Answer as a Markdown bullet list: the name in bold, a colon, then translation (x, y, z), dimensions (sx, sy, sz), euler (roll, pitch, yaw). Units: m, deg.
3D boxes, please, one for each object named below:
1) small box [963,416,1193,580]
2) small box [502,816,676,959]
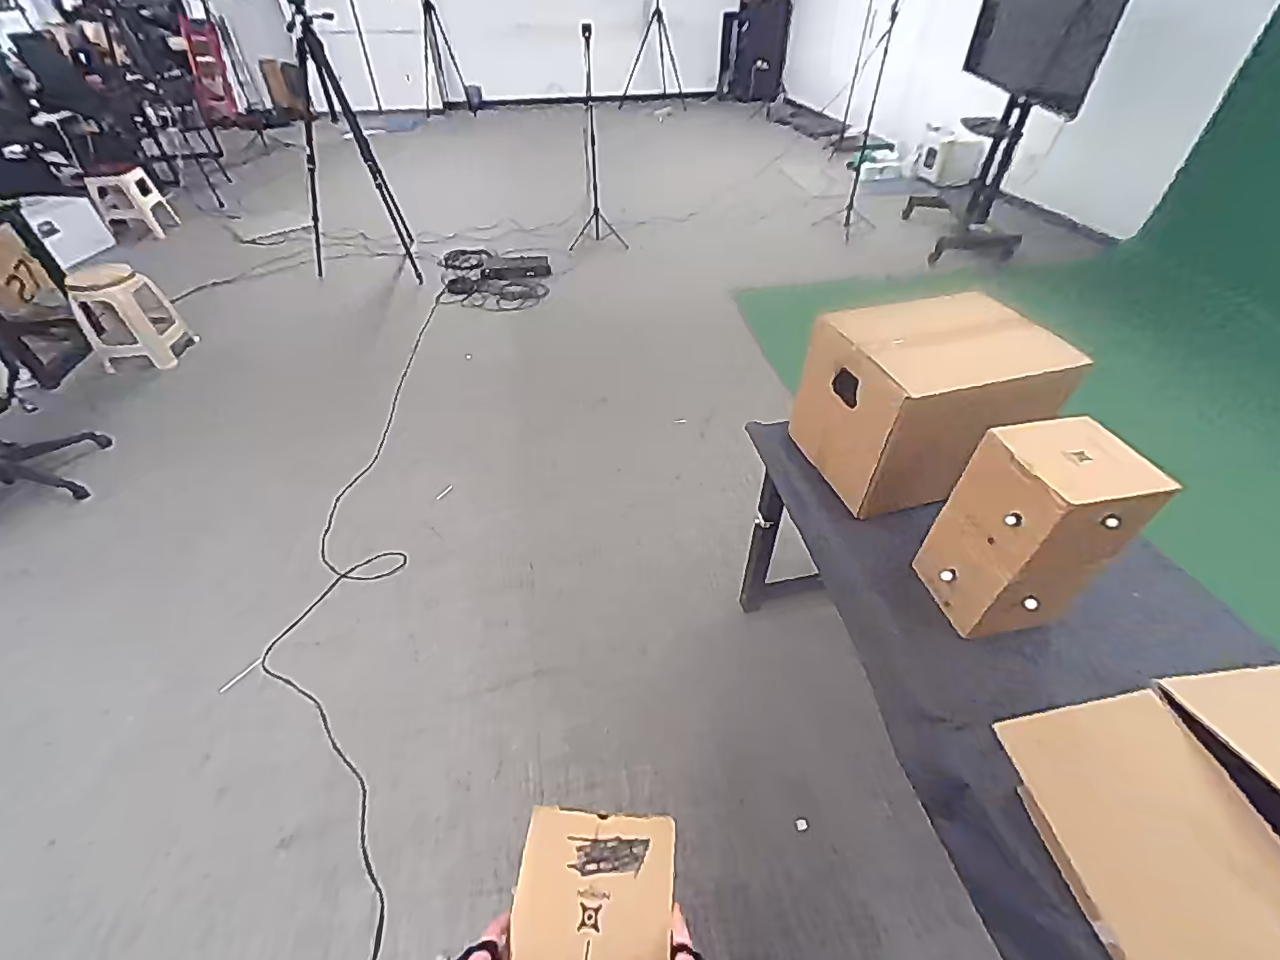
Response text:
- **small box**: translation (0.615, 0.029, 0.795), dimensions (0.179, 0.176, 0.168), euler (-8, 46, -9)
- **small box**: translation (-0.047, 0.498, 0.597), dimensions (0.168, 0.176, 0.179), euler (2, 45, 4)
